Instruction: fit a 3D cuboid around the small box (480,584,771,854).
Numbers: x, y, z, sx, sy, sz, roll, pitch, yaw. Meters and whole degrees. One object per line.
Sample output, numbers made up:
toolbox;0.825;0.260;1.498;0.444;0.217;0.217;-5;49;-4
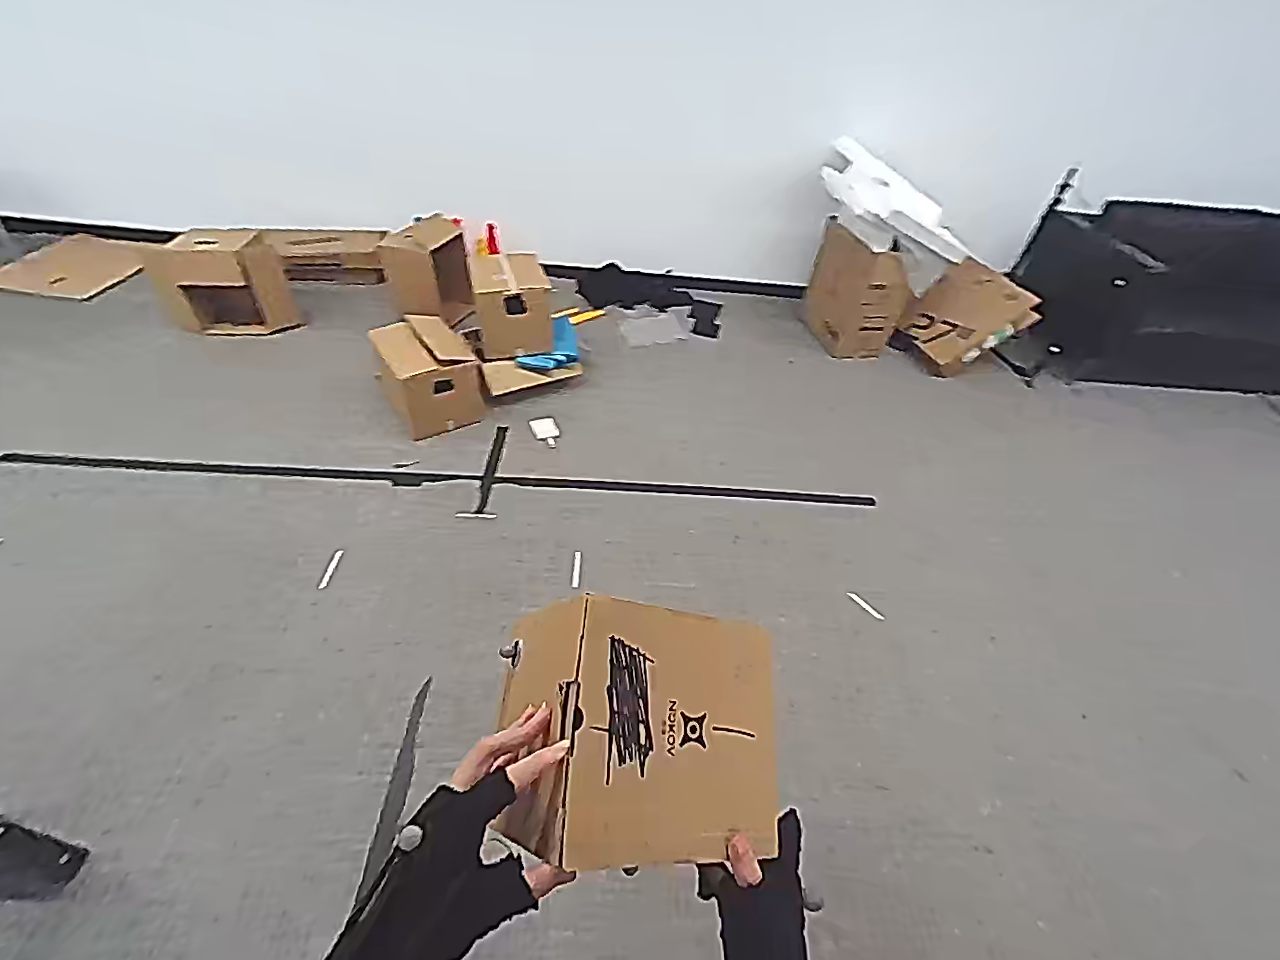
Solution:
small box;-0.017;0.197;0.448;0.179;0.176;0.168;17;61;-27
